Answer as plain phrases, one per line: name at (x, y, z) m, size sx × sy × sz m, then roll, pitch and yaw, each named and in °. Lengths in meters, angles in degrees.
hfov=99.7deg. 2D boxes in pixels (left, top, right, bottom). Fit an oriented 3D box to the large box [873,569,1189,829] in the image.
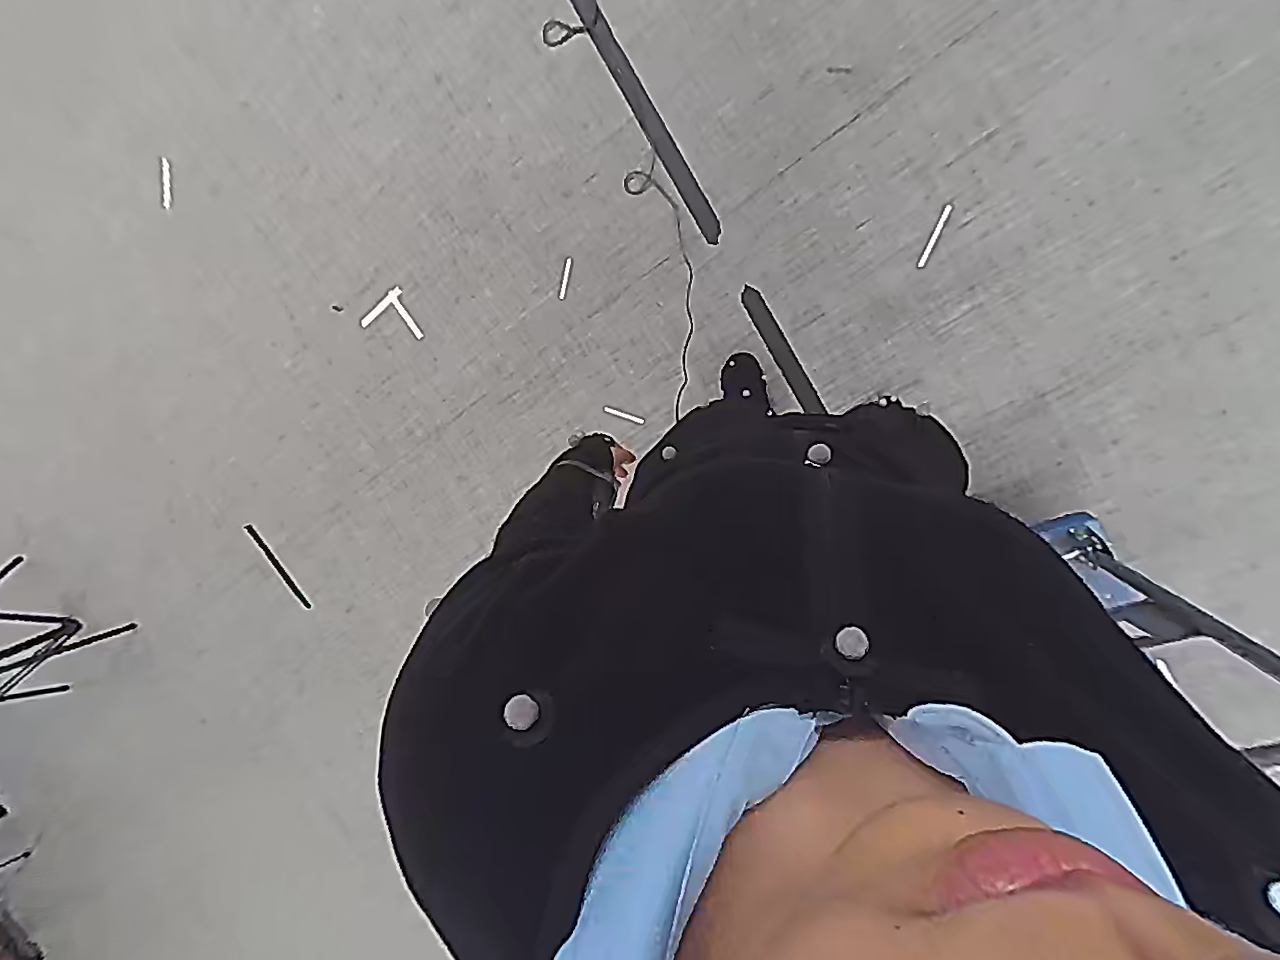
large box at (0.777, 0.449, 1.148) m, size 0.408 × 0.320 × 0.320 m, roll -28°, pitch 95°, yaw 19°
